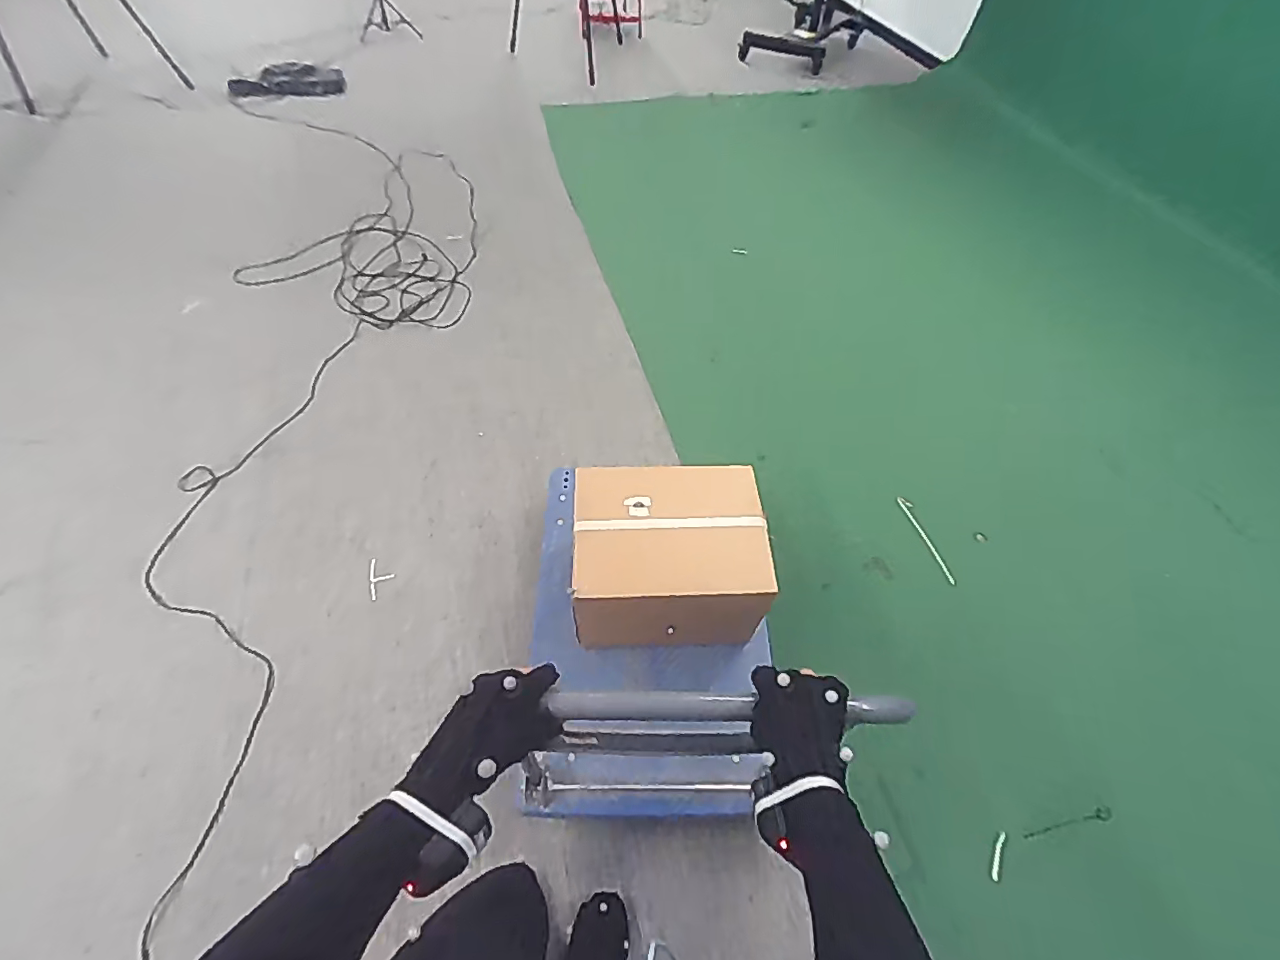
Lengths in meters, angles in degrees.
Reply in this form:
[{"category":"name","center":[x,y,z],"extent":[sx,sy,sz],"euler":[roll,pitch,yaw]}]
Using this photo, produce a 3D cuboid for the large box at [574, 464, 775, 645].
[{"category":"large box","center":[0.059,0.181,1.262],"extent":[0.408,0.320,0.320],"euler":[-2,55,-3]}]
